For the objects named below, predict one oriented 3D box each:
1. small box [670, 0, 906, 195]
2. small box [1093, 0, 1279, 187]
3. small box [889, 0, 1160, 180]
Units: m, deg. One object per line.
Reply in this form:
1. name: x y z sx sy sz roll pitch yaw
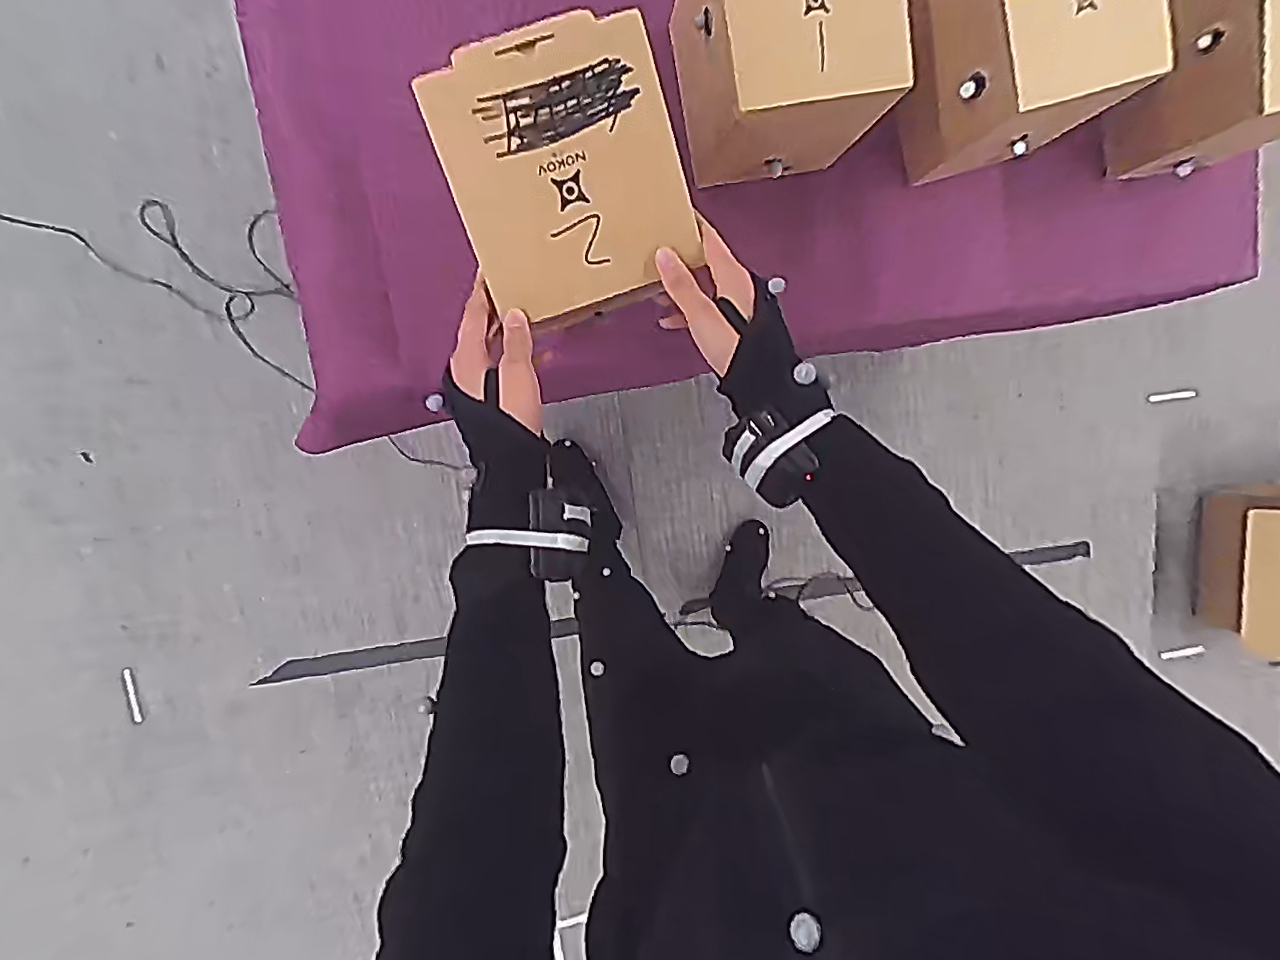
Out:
1. small box: 0.135 -0.423 0.548 0.168 0.176 0.179 -12 98 -5
2. small box: 0.656 -0.466 0.610 0.168 0.176 0.179 -12 97 -5
3. small box: 0.386 -0.449 0.577 0.168 0.176 0.179 -18 98 -5
